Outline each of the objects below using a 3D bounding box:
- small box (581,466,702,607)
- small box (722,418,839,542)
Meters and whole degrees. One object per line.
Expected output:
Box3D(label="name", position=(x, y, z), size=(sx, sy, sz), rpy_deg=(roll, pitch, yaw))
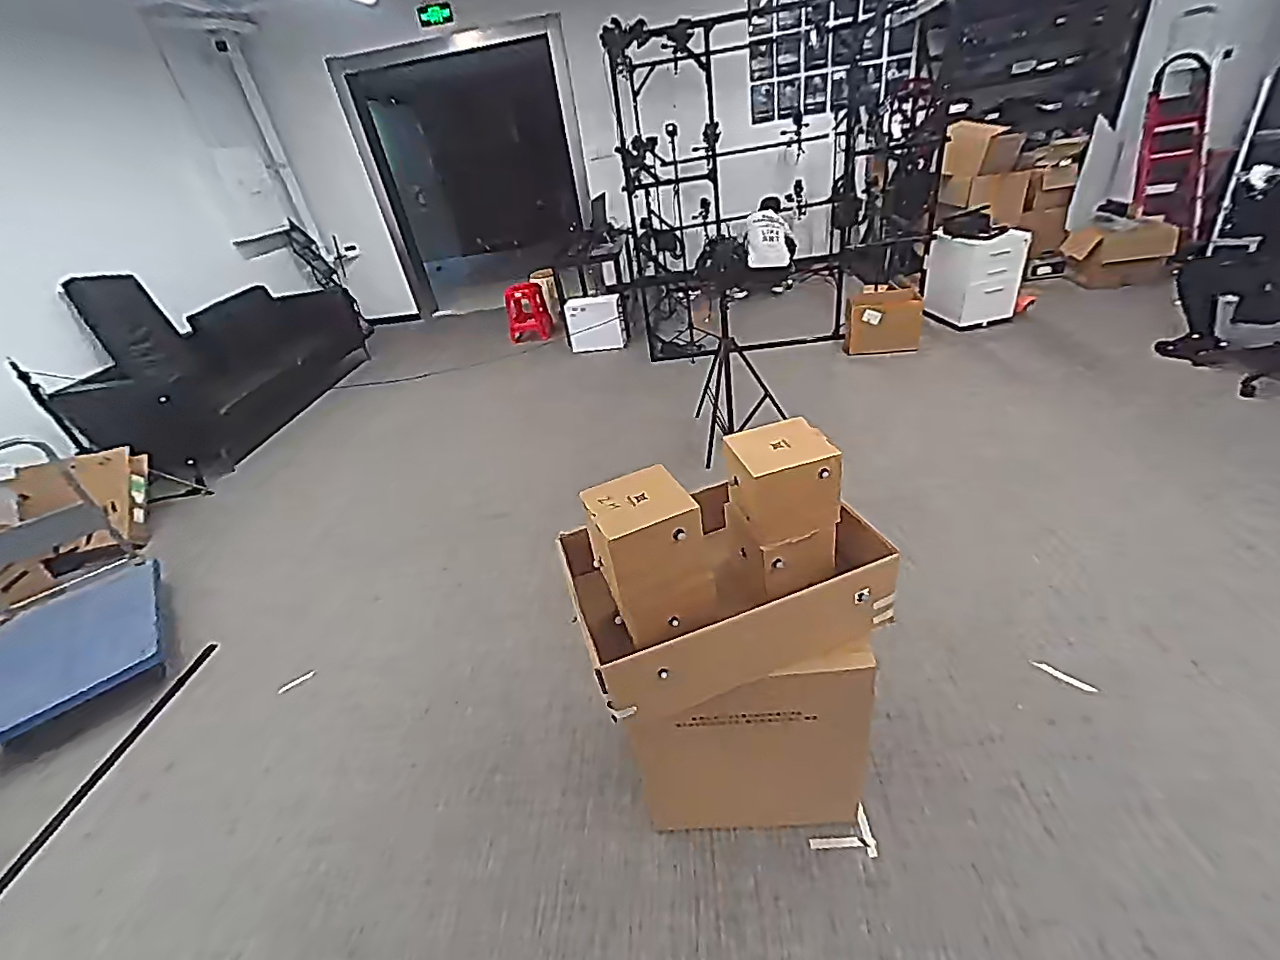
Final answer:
Box3D(label="small box", position=(0.007, 0.104, 1.017), size=(0.179, 0.176, 0.168), rpy_deg=(-20, 35, -14))
Box3D(label="small box", position=(0.282, 0.001, 1.095), size=(0.179, 0.176, 0.168), rpy_deg=(-15, 34, -6))
